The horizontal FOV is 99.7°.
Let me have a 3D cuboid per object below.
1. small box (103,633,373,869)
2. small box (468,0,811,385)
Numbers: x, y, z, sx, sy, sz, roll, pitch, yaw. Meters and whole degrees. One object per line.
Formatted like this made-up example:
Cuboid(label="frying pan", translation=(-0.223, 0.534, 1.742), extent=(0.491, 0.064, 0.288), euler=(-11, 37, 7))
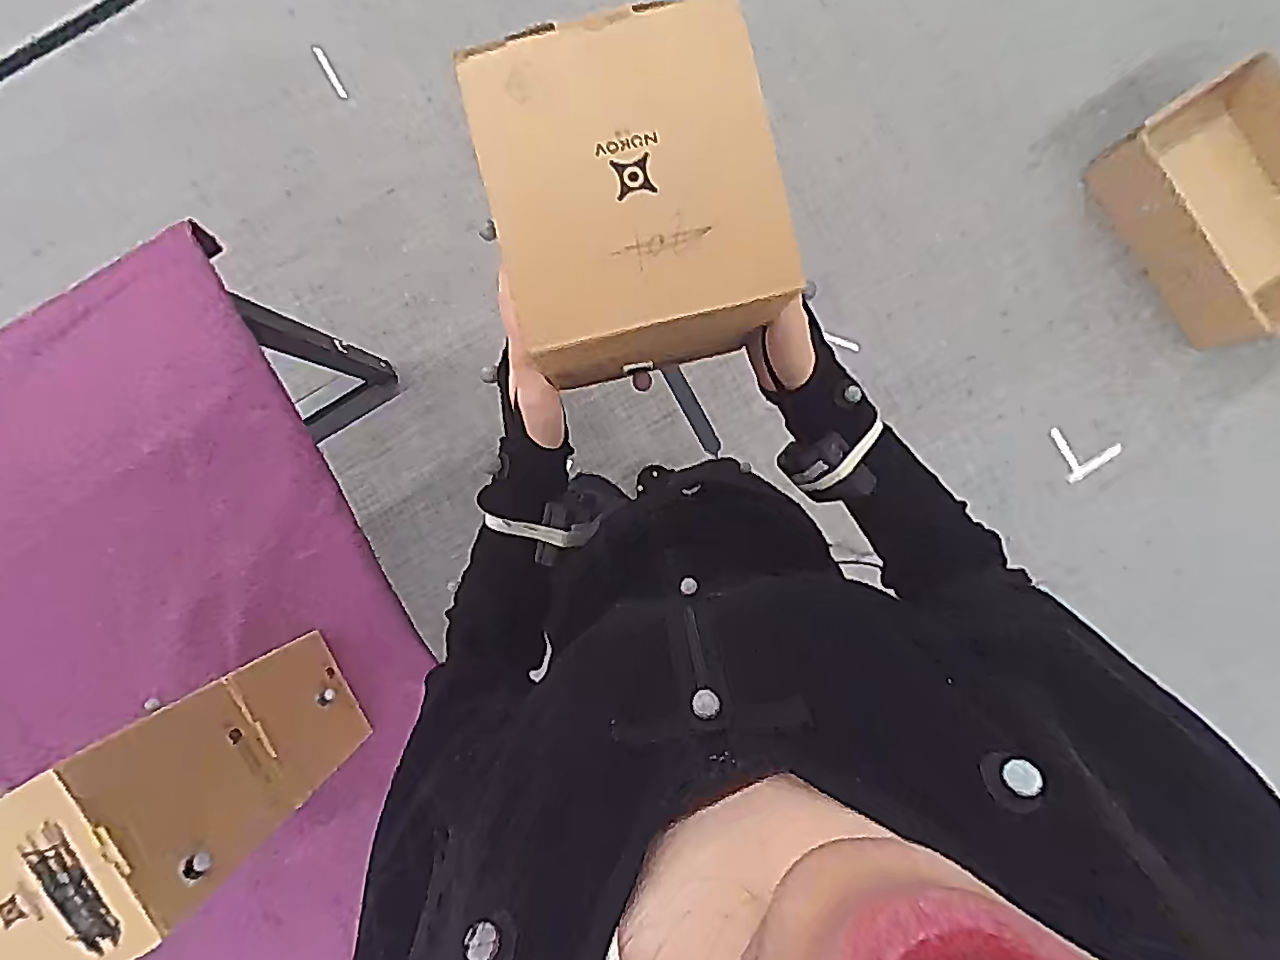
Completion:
Cuboid(label="small box", translation=(-0.480, 0.320, 0.675), extent=(0.179, 0.176, 0.168), euler=(-28, 92, 0))
Cuboid(label="small box", translation=(-0.002, -0.180, 0.386), extent=(0.168, 0.176, 0.179), euler=(-14, 93, -1))
